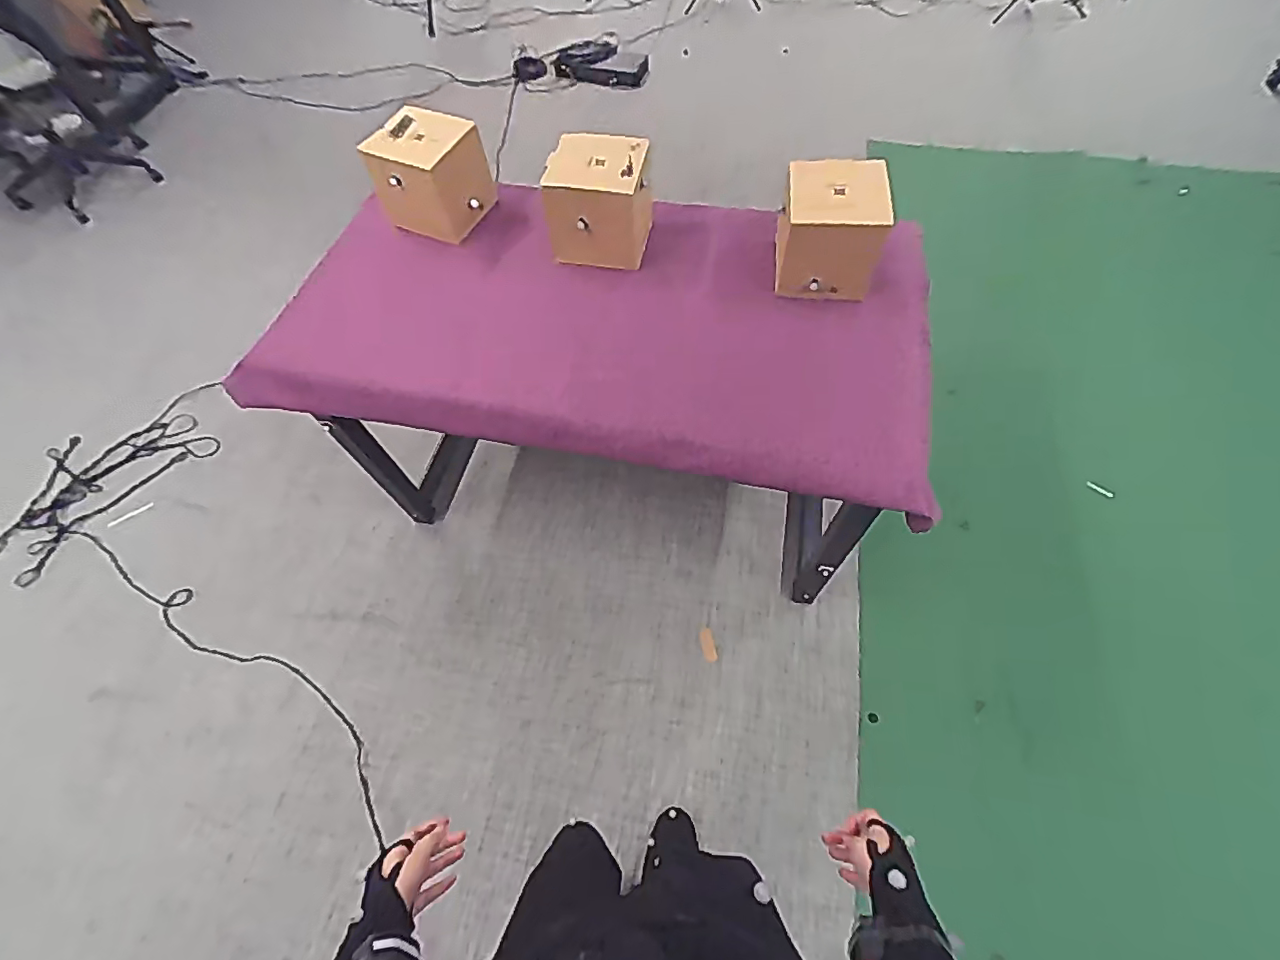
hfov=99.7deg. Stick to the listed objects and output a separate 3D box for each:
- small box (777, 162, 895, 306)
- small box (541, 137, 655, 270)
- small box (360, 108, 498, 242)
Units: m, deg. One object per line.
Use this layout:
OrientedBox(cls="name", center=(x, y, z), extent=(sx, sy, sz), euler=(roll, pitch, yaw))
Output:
OrientedBox(cls="small box", center=(0.346, -0.446, 0.987), extent=(0.168, 0.176, 0.179), euler=(5, 62, 7))
OrientedBox(cls="small box", center=(-0.072, -0.536, 1.057), extent=(0.179, 0.176, 0.168), euler=(9, 63, 9))
OrientedBox(cls="small box", center=(-0.425, -0.626, 1.121), extent=(0.179, 0.176, 0.168), euler=(21, 65, 13))
